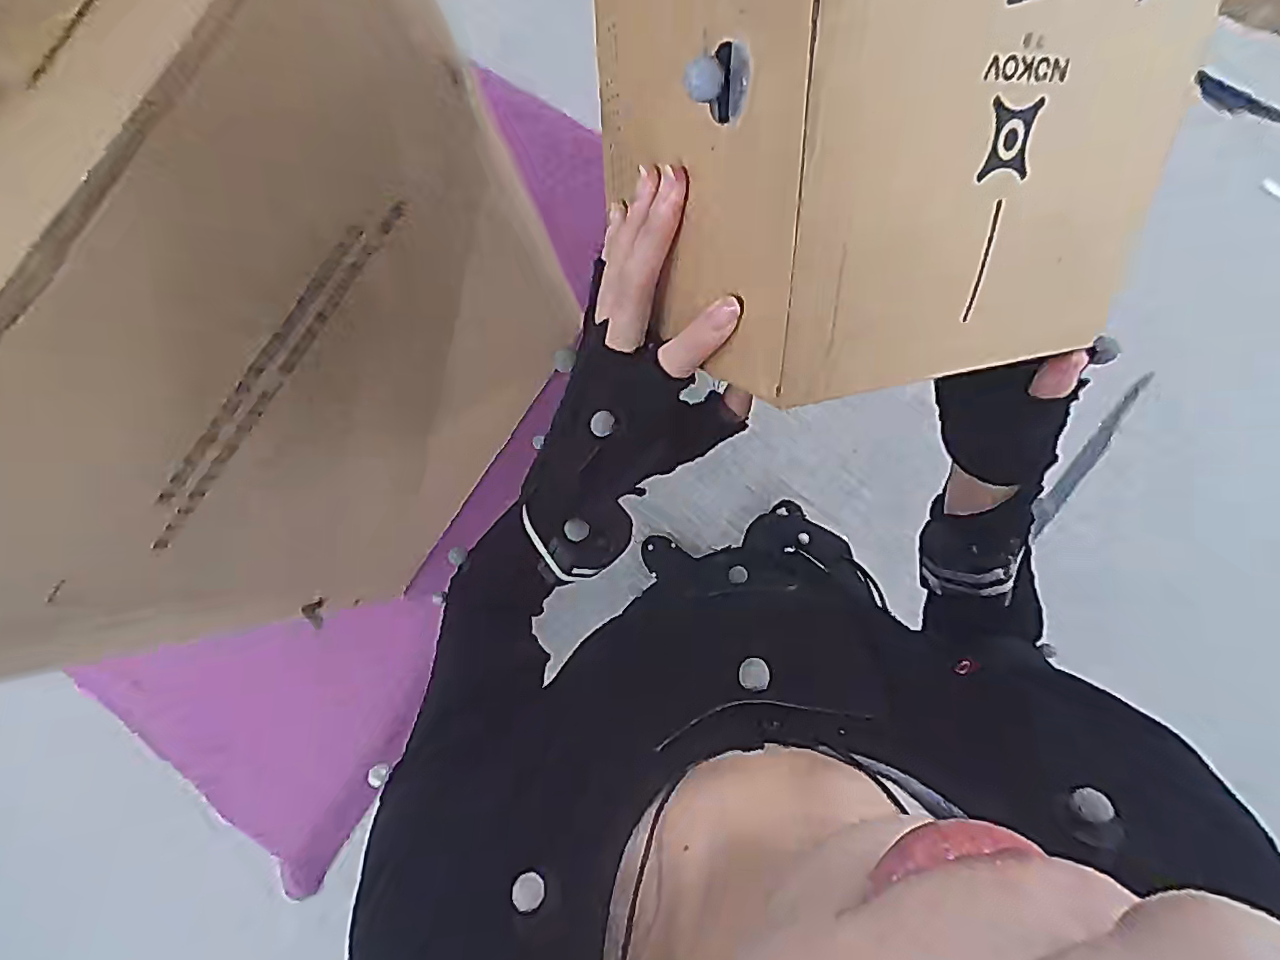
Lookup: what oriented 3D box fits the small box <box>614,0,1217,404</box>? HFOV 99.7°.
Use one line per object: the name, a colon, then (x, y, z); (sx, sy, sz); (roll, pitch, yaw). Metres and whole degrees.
small box: (0.092, -0.150, 0.244); (0.168, 0.176, 0.179); (-12, 119, -19)
